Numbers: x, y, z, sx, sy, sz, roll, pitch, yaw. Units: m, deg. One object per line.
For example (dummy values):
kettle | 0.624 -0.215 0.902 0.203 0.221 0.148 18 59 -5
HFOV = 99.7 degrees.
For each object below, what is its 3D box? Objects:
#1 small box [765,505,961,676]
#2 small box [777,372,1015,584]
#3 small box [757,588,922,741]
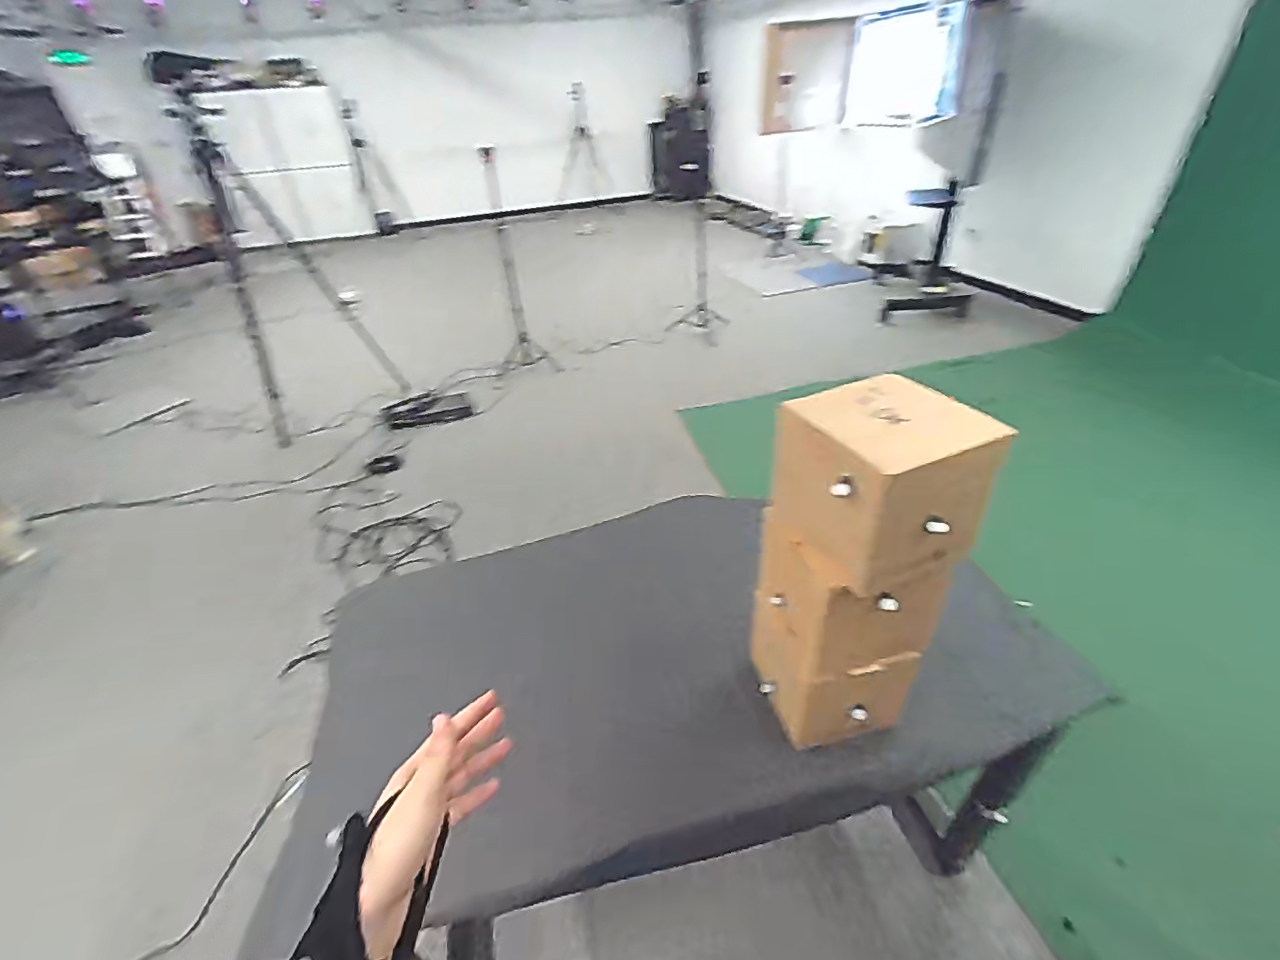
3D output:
small box | 0.281 0.131 0.727 0.179 0.176 0.168 -13 35 -8
small box | 0.277 -0.001 0.628 0.168 0.176 0.179 -17 36 -15
small box | 0.286 0.267 0.817 0.168 0.176 0.179 -11 35 -7
